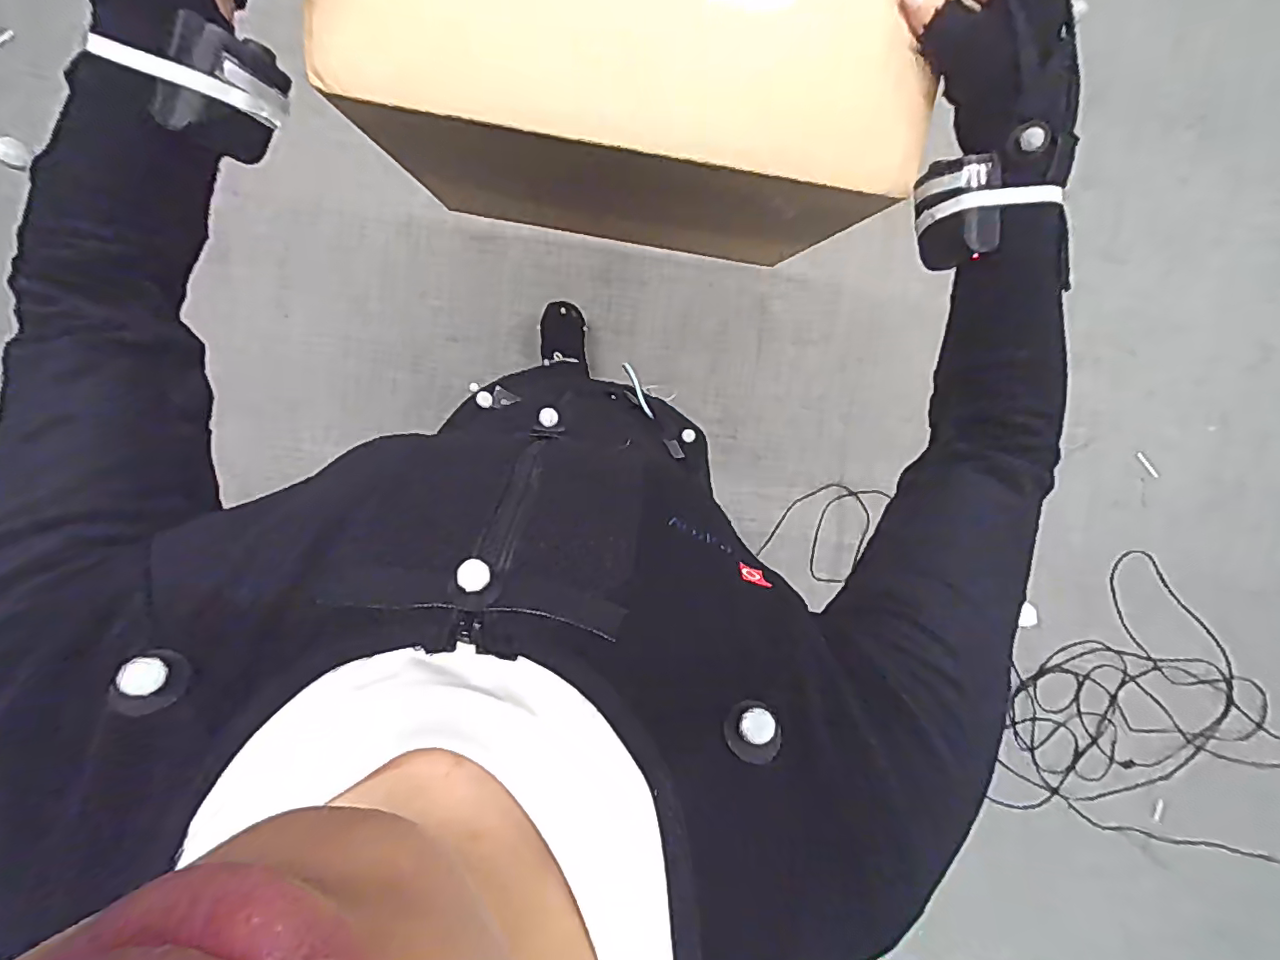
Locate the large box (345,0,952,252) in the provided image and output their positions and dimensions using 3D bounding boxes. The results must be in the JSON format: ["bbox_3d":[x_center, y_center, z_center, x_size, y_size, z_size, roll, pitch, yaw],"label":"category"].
[{"bbox_3d":[0.009,-0.418,0.484,0.408,0.320,0.320,7,104,-7],"label":"large box"}]
